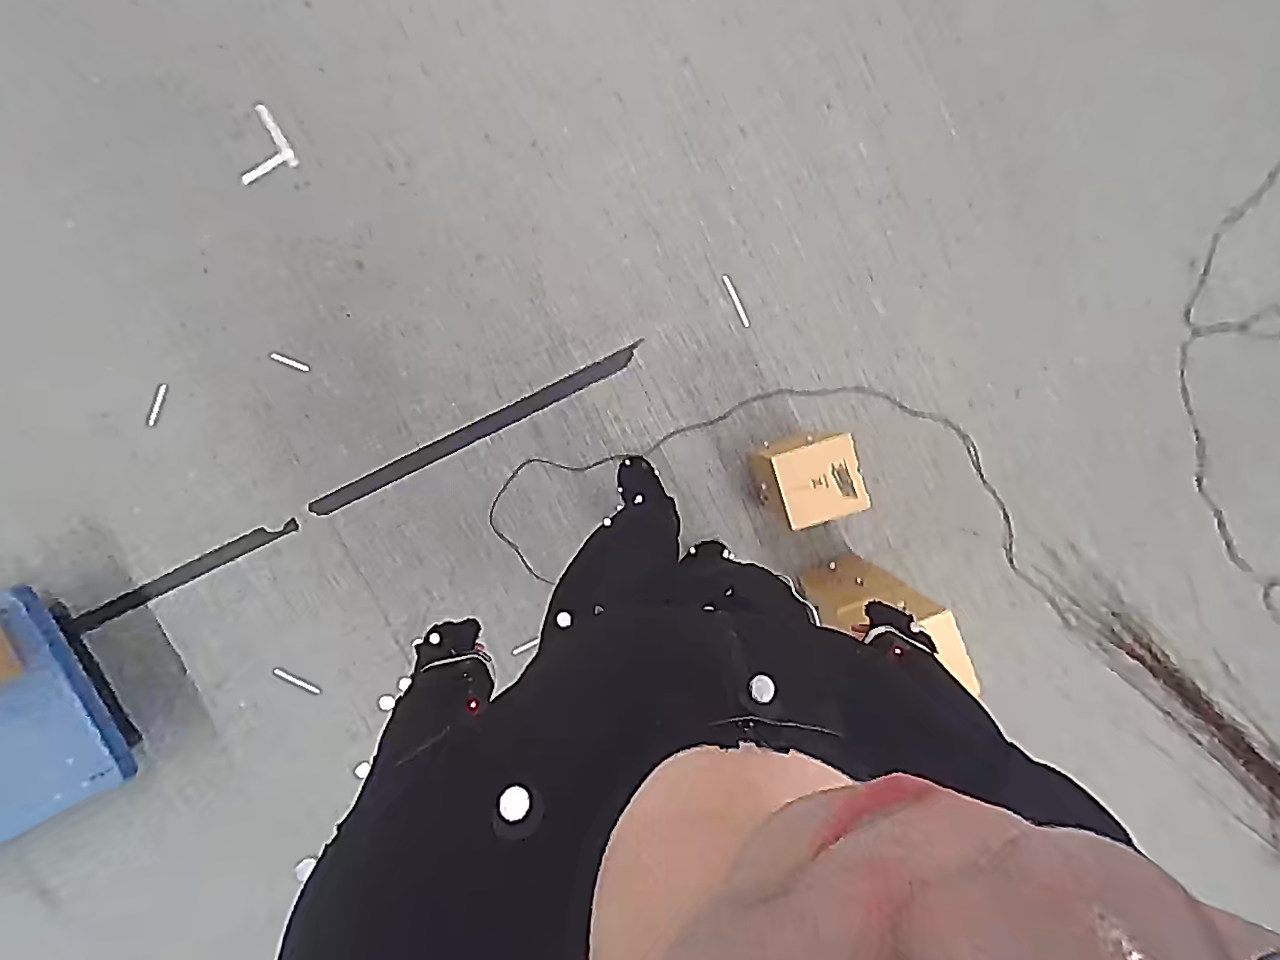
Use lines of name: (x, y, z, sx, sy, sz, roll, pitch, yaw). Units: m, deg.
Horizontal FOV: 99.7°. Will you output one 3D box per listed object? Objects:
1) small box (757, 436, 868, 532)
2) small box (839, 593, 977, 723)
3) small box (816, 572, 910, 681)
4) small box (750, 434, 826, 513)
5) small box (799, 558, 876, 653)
small box: (0.383, 0.002, 1.226, 0.179, 0.176, 0.168, -17, 95, 3)
small box: (0.528, 0.344, 1.091, 0.168, 0.176, 0.179, -23, 95, 3)
small box: (0.529, 0.326, 1.253, 0.168, 0.176, 0.179, -21, 95, 3)
small box: (0.392, -0.013, 1.390, 0.179, 0.176, 0.168, -19, 96, 2)
small box: (0.537, 0.318, 1.418, 0.168, 0.176, 0.179, -23, 94, 3)
